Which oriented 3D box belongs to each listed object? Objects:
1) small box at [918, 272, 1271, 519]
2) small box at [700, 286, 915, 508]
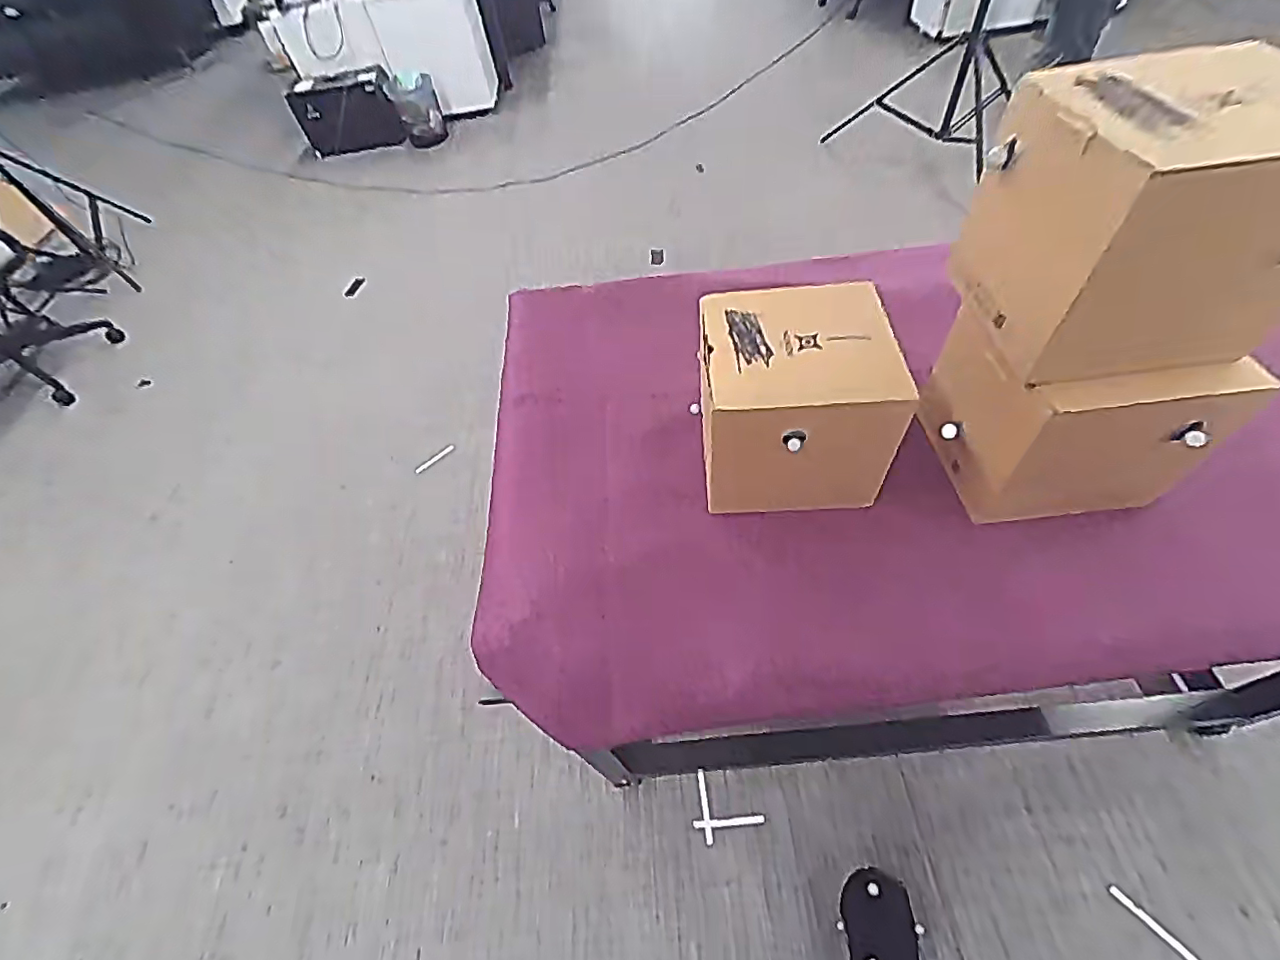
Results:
[{"bbox_3d":[0.413,-0.078,0.536,0.179,0.176,0.168,-6,52,3],"label":"small box"},{"bbox_3d":[0.156,-0.081,0.572,0.179,0.176,0.168,-2,53,4],"label":"small box"}]
